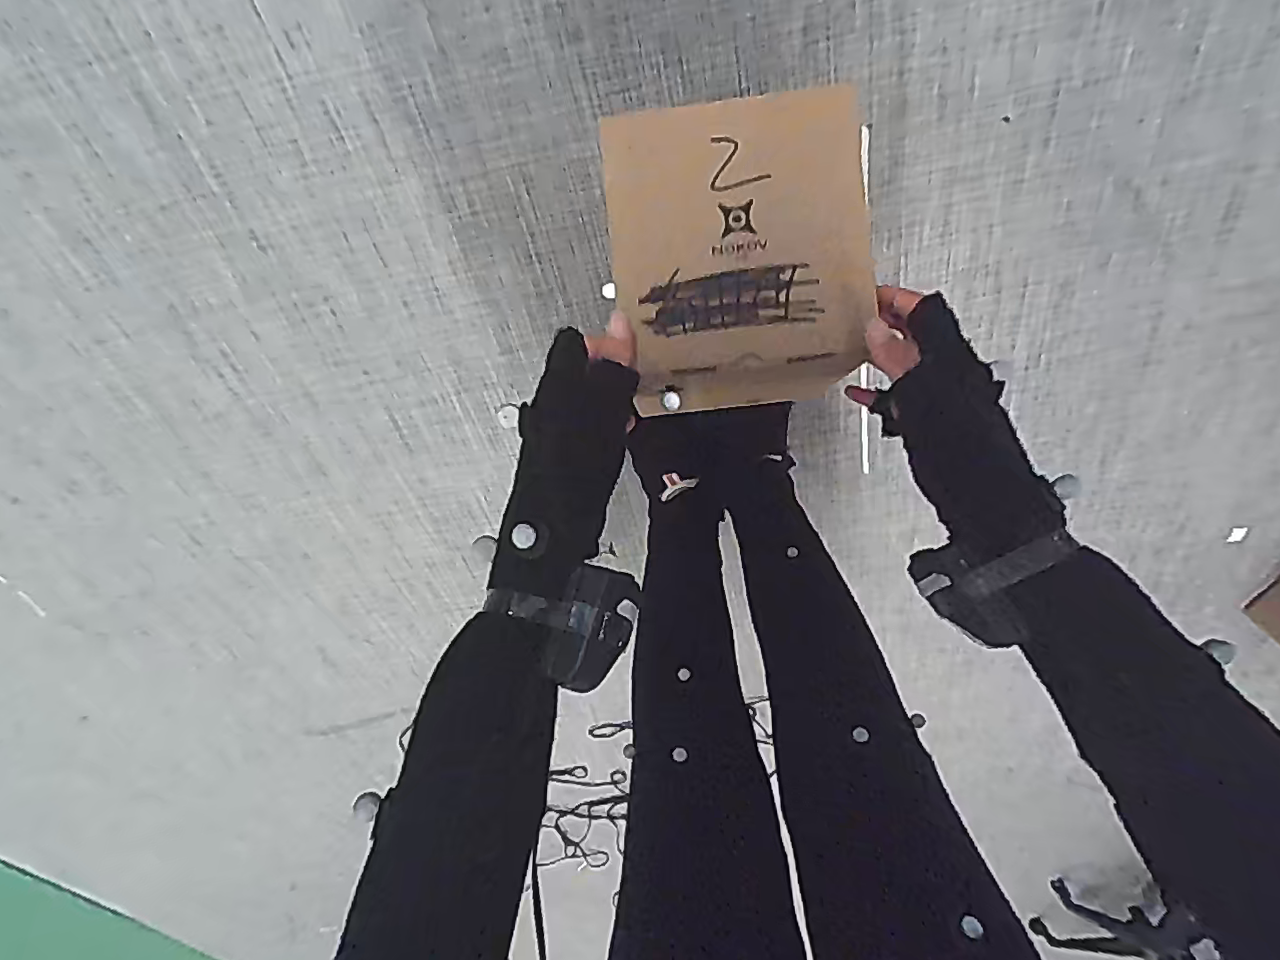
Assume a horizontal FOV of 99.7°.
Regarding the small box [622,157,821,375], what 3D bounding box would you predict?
[{"bbox_3d":[0.085,-0.245,0.608,0.179,0.176,0.168,-15,122,10],"label":"small box"}]
